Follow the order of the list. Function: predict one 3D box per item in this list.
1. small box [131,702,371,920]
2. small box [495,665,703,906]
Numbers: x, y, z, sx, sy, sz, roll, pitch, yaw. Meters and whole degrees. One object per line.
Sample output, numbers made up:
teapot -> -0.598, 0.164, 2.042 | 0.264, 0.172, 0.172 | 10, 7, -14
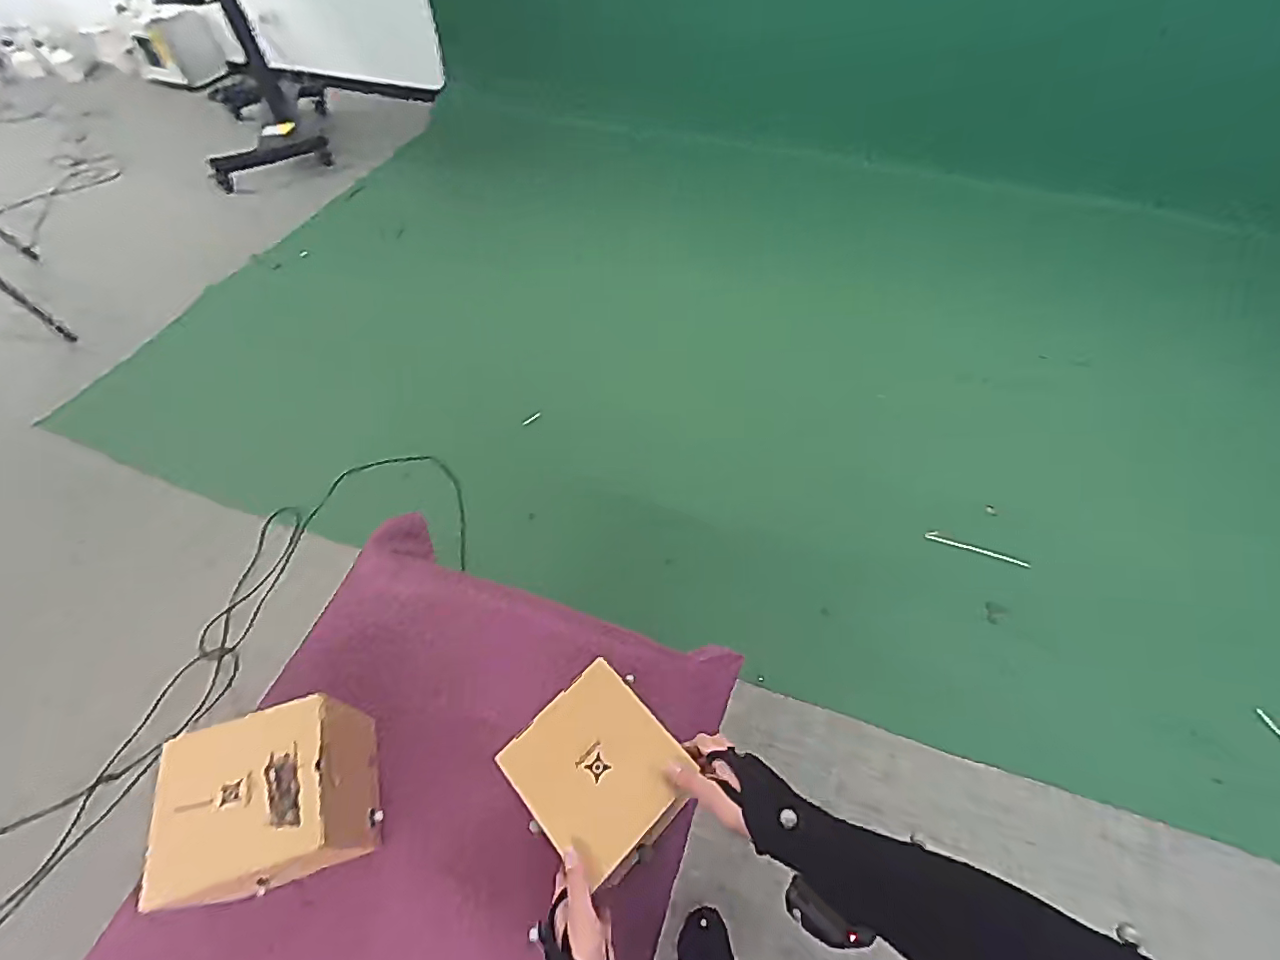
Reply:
small box -> -0.441, 0.391, 0.652 | 0.179, 0.176, 0.168 | -15, 57, -10
small box -> -0.038, 0.364, 0.659 | 0.168, 0.176, 0.179 | -40, 59, -17
